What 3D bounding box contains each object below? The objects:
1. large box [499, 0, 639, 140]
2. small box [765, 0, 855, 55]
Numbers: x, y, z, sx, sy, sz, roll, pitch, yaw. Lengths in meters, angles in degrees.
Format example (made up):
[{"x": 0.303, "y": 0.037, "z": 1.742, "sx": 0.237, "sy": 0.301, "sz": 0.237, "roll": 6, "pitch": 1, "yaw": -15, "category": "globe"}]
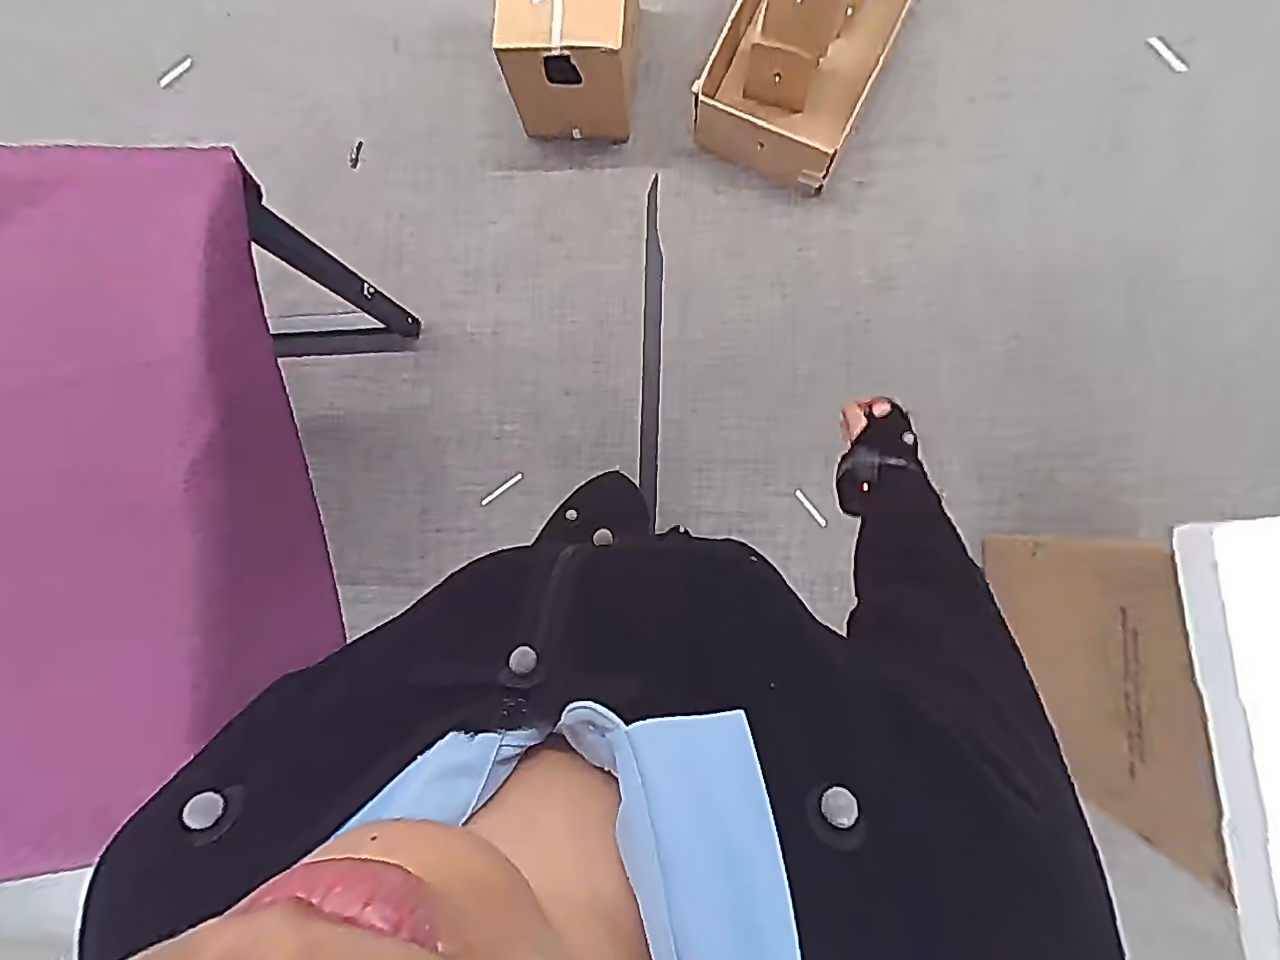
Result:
[{"x": -0.168, "y": -1.195, "z": 1.434, "sx": 0.320, "sy": 0.320, "sz": 0.408, "roll": 3, "pitch": 88, "yaw": 5, "category": "large box"}, {"x": 0.409, "y": -1.145, "z": 1.253, "sx": 0.179, "sy": 0.176, "sz": 0.168, "roll": 27, "pitch": 86, "yaw": 4, "category": "small box"}]
